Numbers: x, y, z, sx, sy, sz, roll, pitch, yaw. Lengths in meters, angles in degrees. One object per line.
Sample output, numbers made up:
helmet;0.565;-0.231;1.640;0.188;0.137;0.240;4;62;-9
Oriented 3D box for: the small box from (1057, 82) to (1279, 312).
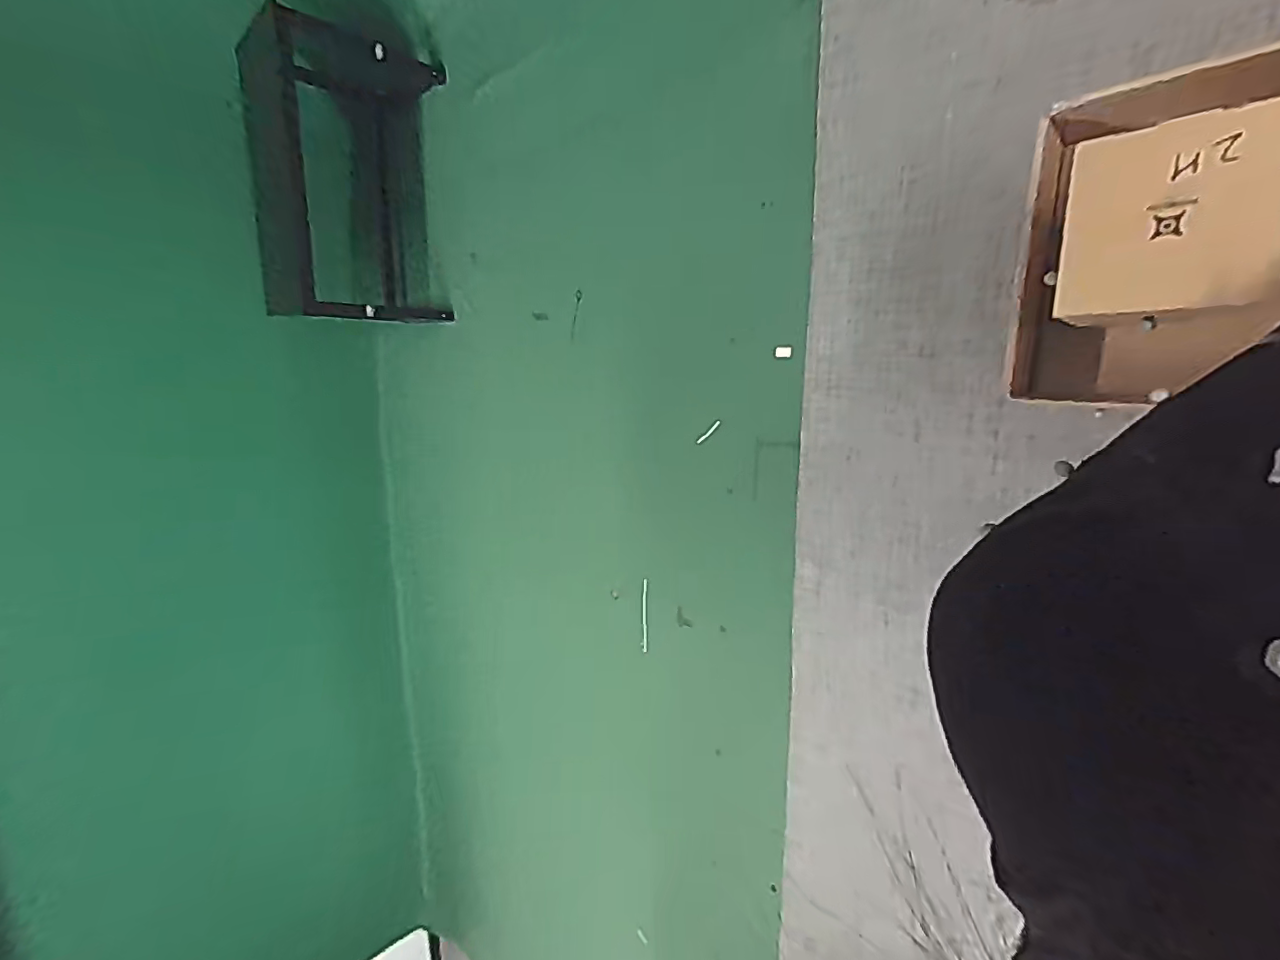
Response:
small box;0.563;-0.272;0.564;0.168;0.176;0.179;11;106;44
